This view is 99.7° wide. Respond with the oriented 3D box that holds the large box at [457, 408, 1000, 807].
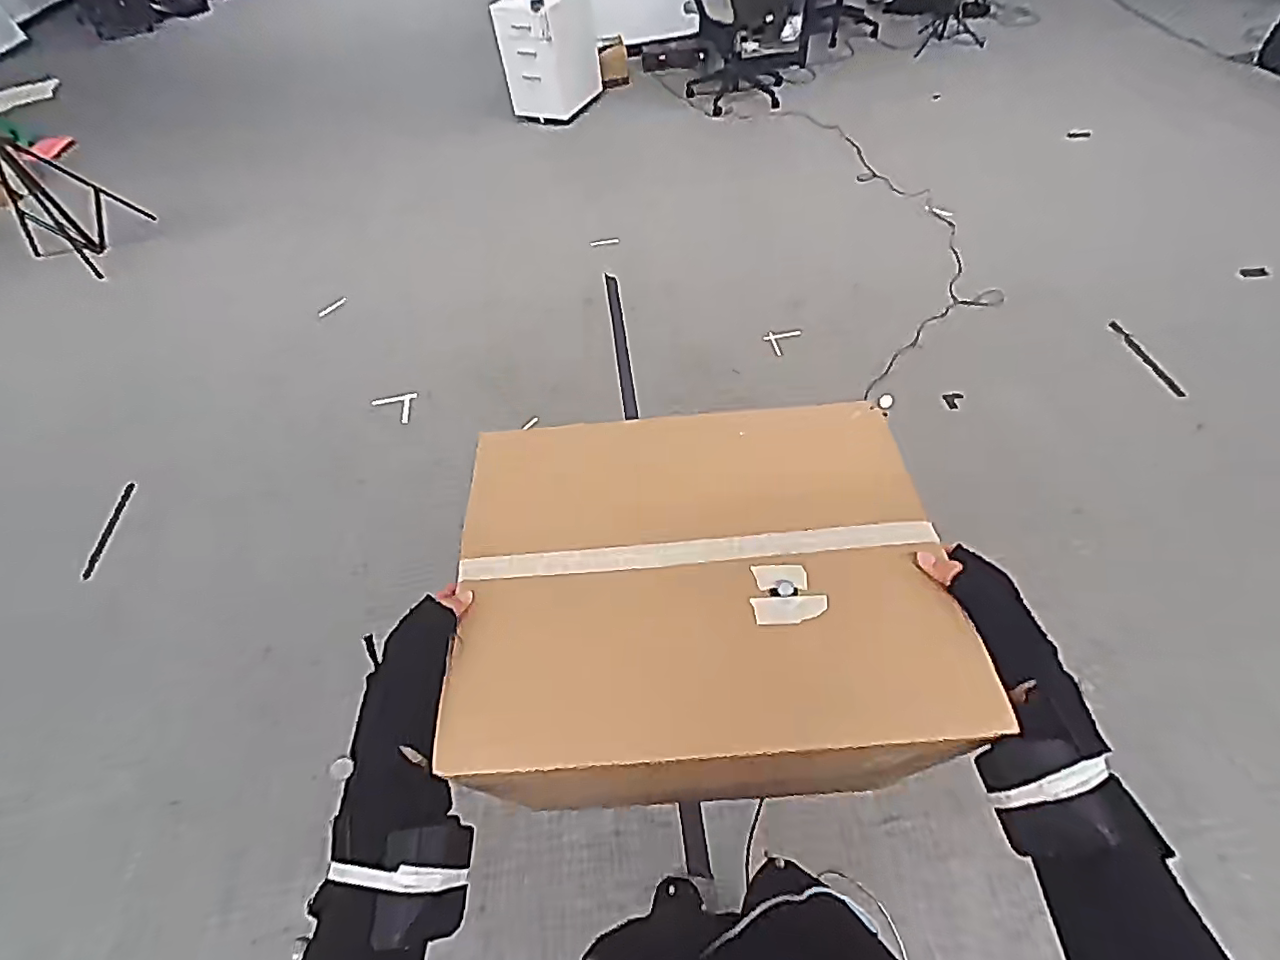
[{"bbox_3d":[0.060,0.153,0.593,0.408,0.320,0.320,-5,56,1],"label":"large box"}]
